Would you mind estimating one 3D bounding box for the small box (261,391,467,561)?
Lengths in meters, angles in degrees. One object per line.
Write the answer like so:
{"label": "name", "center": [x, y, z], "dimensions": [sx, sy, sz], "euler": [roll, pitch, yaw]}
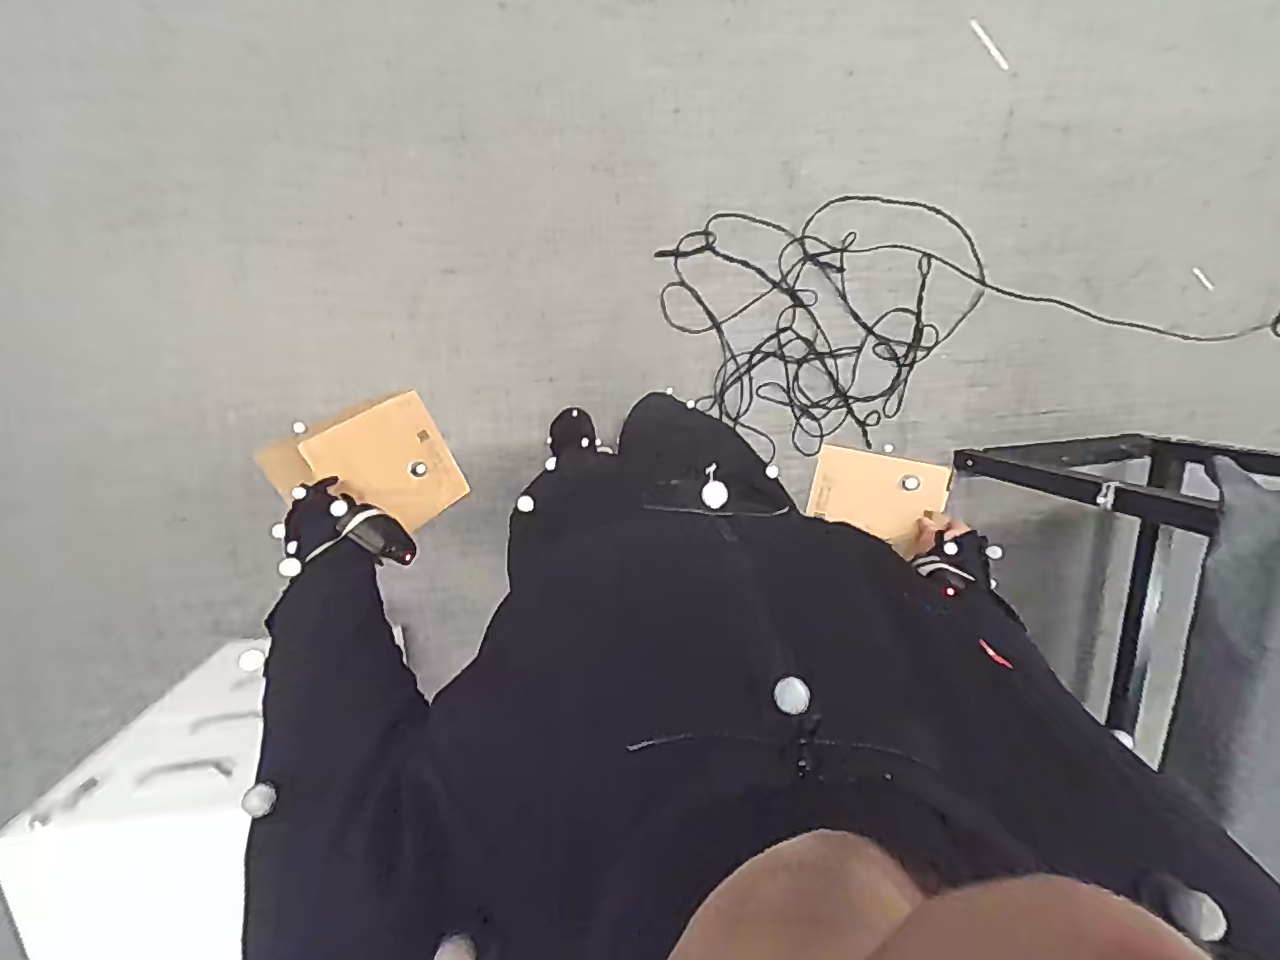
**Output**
{"label": "small box", "center": [-0.378, -0.009, 0.757], "dimensions": [0.176, 0.179, 0.168], "euler": [-43, 119, -39]}
